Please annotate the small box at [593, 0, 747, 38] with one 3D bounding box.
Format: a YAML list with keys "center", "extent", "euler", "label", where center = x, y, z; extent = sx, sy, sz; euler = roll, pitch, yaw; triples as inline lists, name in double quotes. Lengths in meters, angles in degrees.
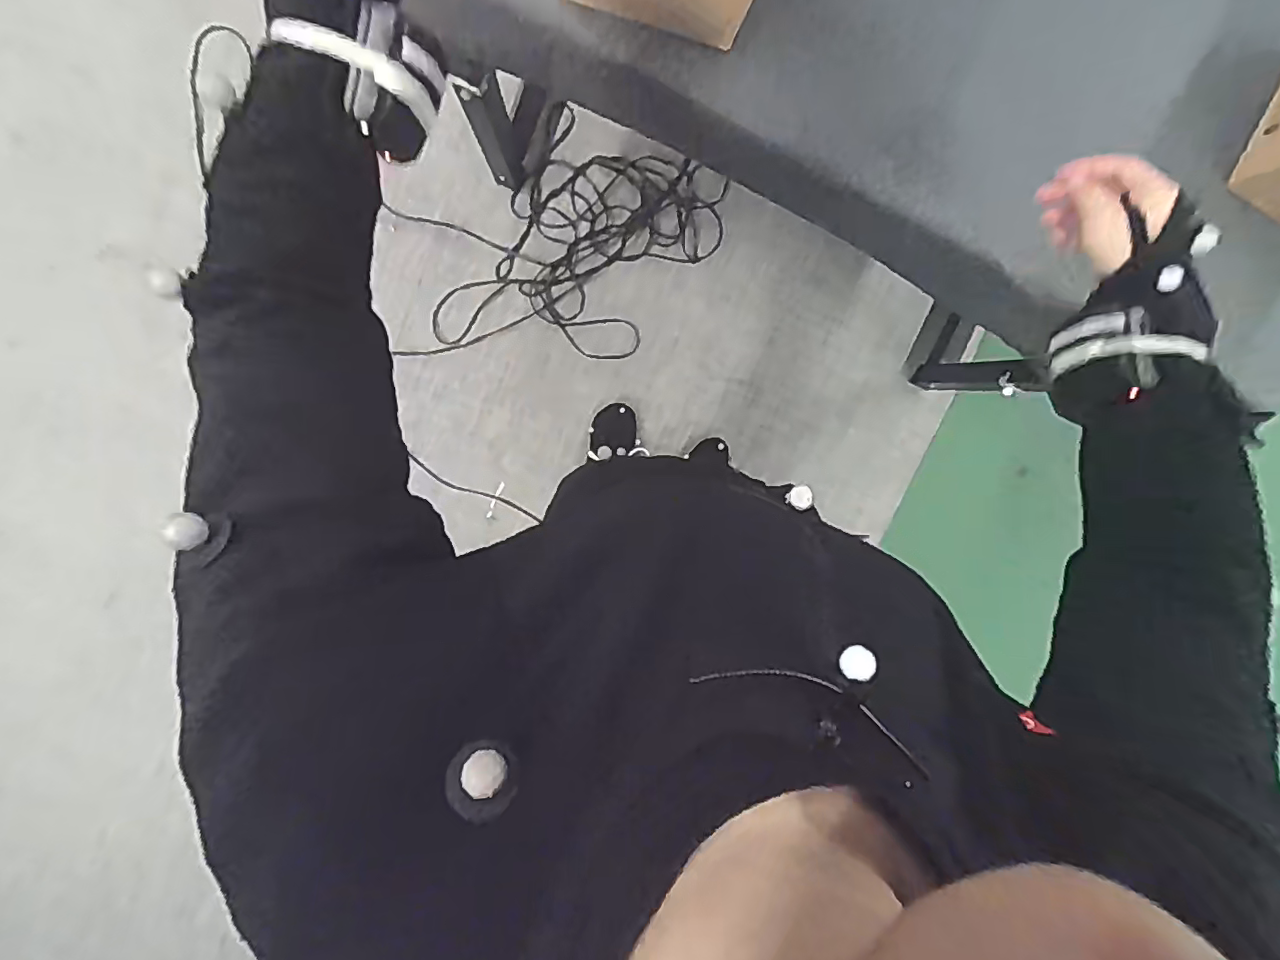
- center: [0.036, -0.520, 0.447]
  extent: [0.179, 0.176, 0.168]
  euler: [12, 98, -8]
  label: "small box"
